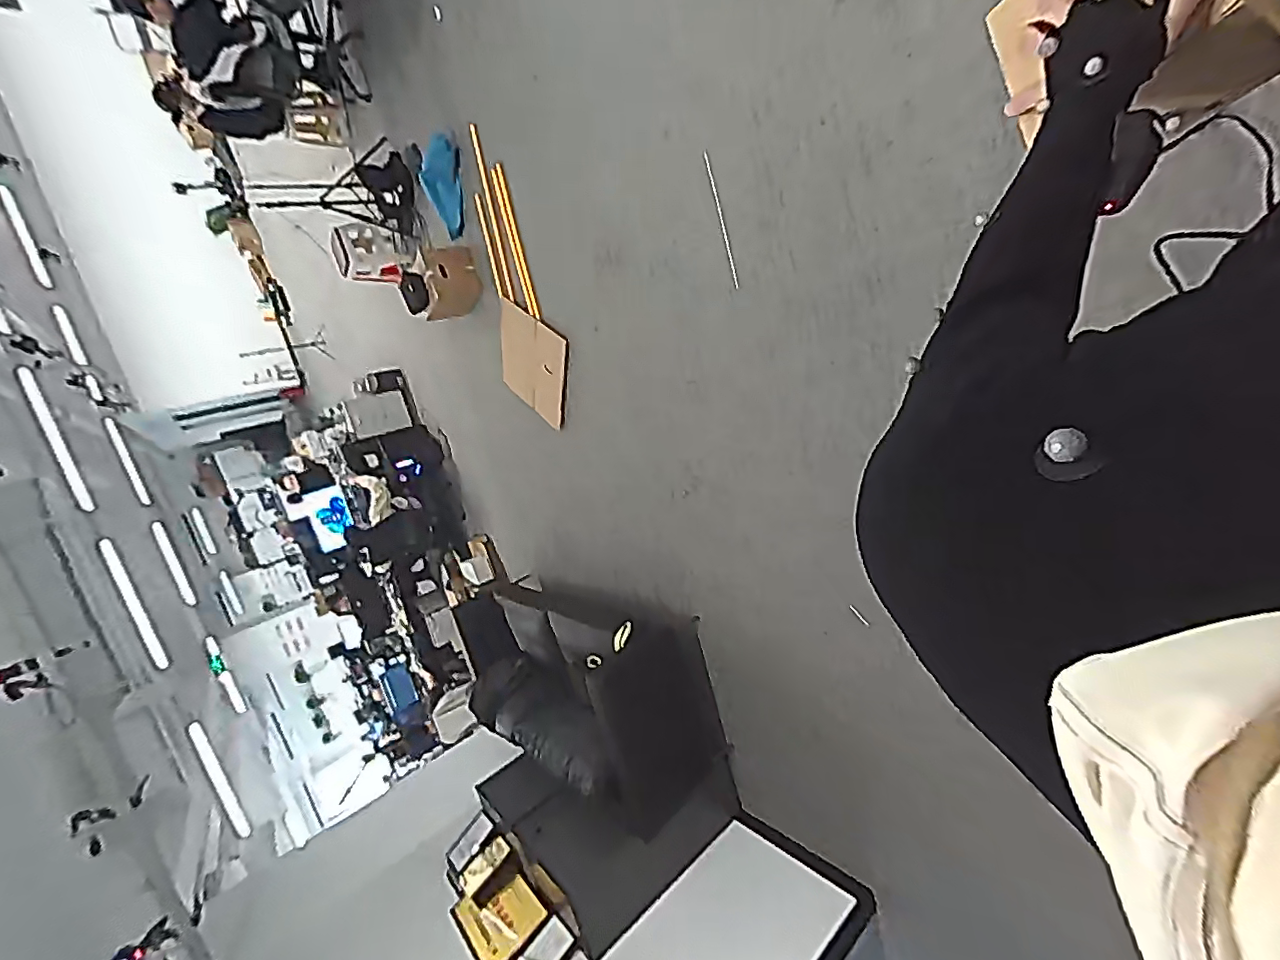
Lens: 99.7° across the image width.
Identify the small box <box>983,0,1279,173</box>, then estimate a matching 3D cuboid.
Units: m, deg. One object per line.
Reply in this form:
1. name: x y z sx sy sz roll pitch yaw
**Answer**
1. small box: 0.508 -0.461 0.566 0.168 0.176 0.179 -27 70 61
